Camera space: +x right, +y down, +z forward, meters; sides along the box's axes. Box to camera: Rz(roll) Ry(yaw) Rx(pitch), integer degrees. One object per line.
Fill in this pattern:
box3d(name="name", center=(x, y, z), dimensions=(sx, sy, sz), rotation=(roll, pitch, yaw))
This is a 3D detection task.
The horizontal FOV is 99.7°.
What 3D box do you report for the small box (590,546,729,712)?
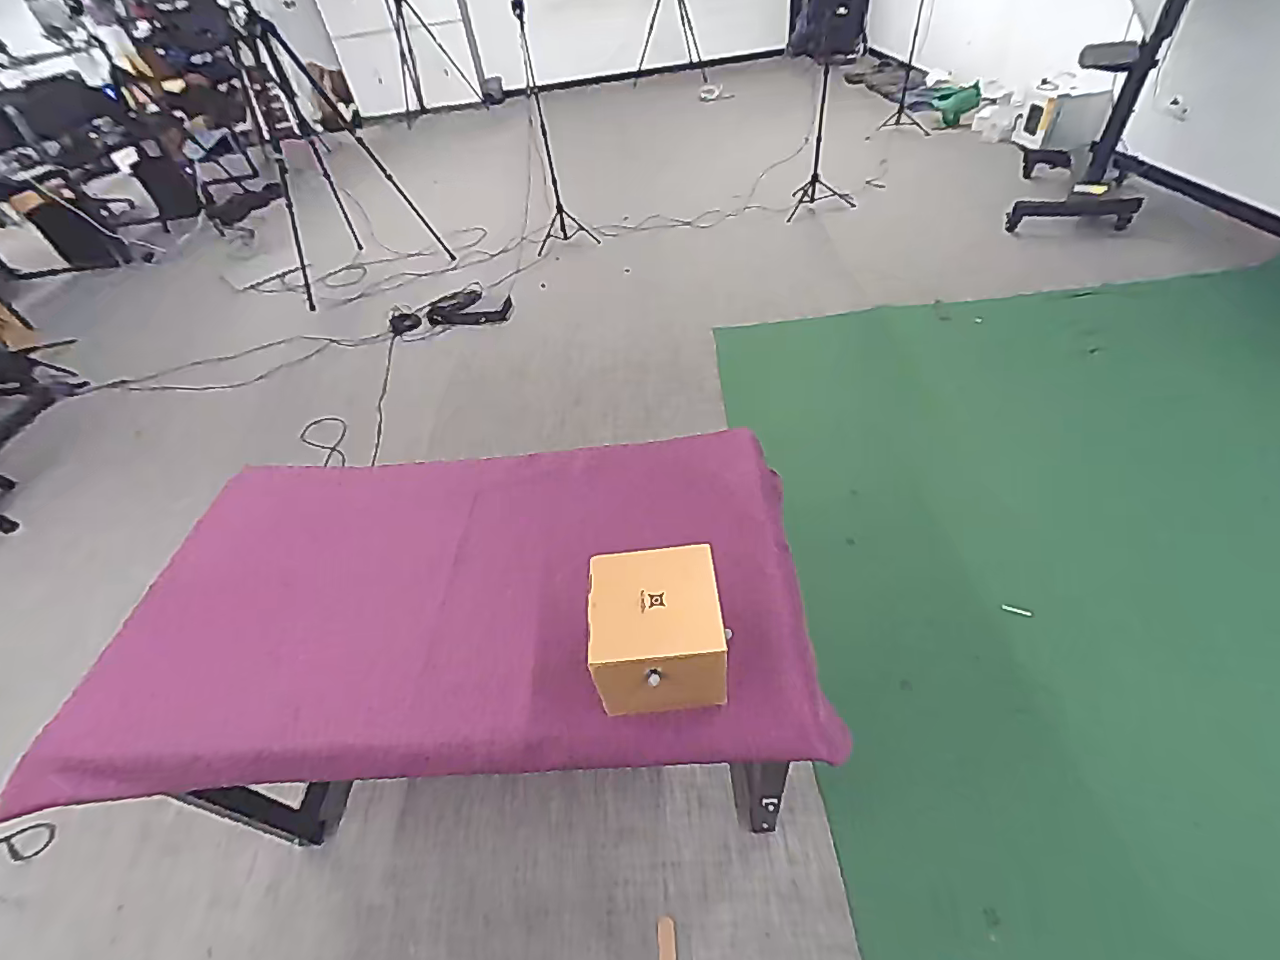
box3d(name="small box", center=(0.031, 0.218, 0.781), dimensions=(0.179, 0.176, 0.168), rotation=(-9, 46, 4))
